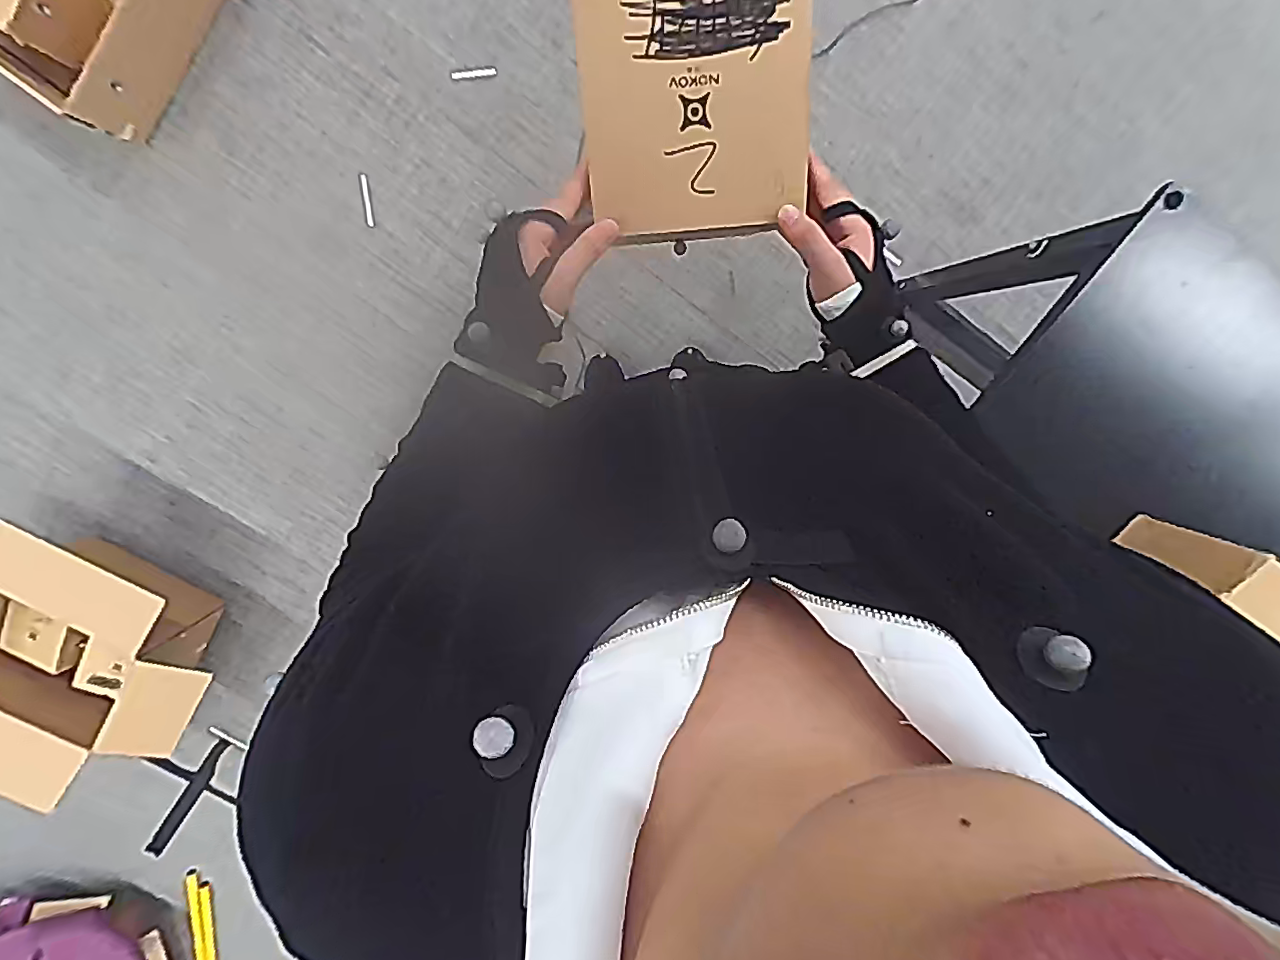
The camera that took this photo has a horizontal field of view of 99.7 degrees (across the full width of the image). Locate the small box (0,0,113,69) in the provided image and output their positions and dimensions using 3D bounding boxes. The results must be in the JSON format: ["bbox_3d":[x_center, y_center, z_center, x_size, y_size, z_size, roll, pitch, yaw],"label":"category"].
[{"bbox_3d":[-1.281,-1.026,1.133,0.168,0.176,0.179,36,98,-10],"label":"small box"}]
